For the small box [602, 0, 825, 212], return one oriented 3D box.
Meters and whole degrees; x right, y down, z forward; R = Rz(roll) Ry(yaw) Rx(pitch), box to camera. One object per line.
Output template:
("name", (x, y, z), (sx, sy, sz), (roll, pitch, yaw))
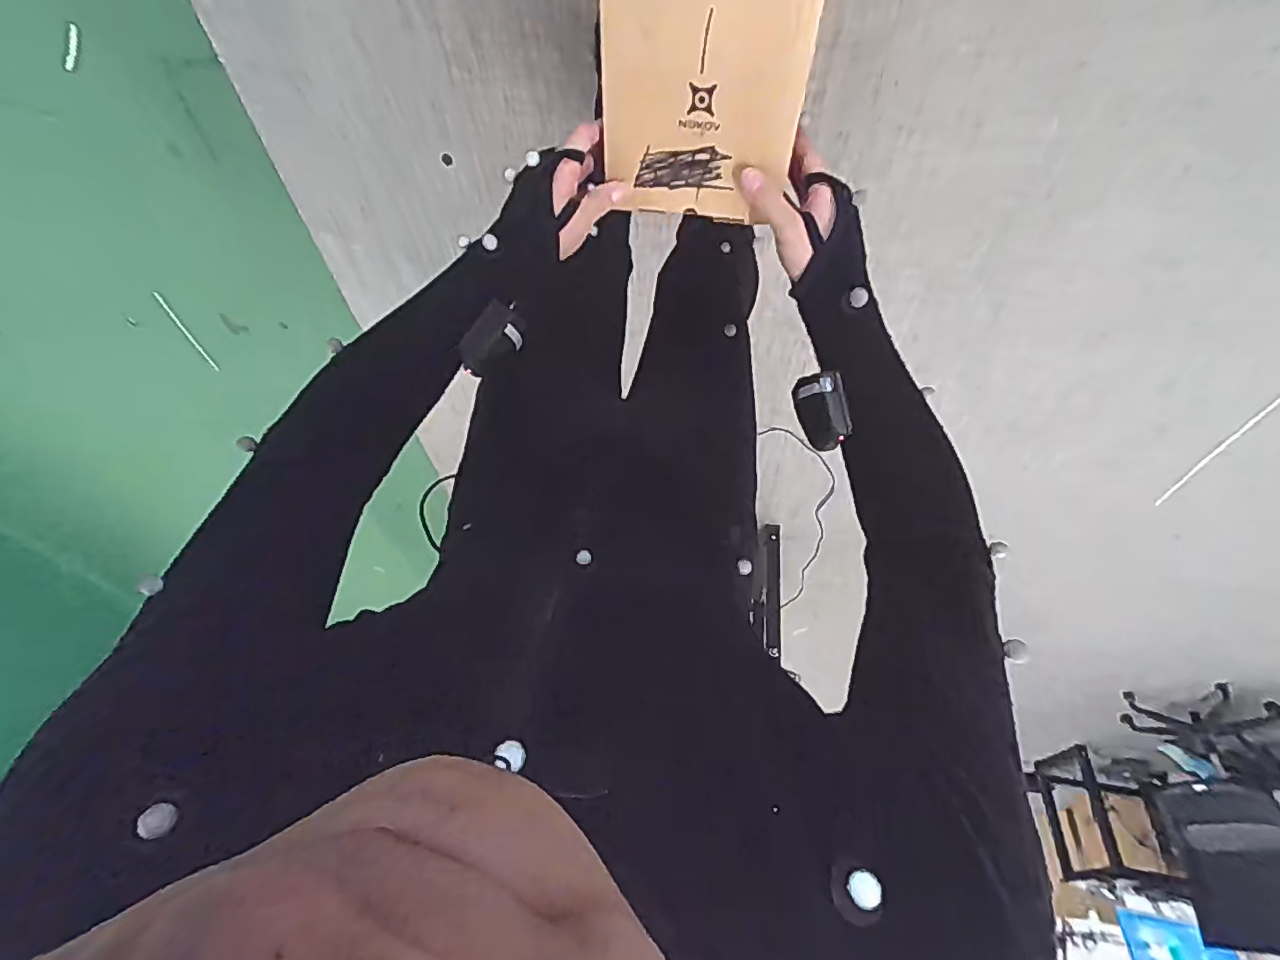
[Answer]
("small box", (0.066, -0.372, 0.488), (0.168, 0.176, 0.179), (8, 139, 7))
